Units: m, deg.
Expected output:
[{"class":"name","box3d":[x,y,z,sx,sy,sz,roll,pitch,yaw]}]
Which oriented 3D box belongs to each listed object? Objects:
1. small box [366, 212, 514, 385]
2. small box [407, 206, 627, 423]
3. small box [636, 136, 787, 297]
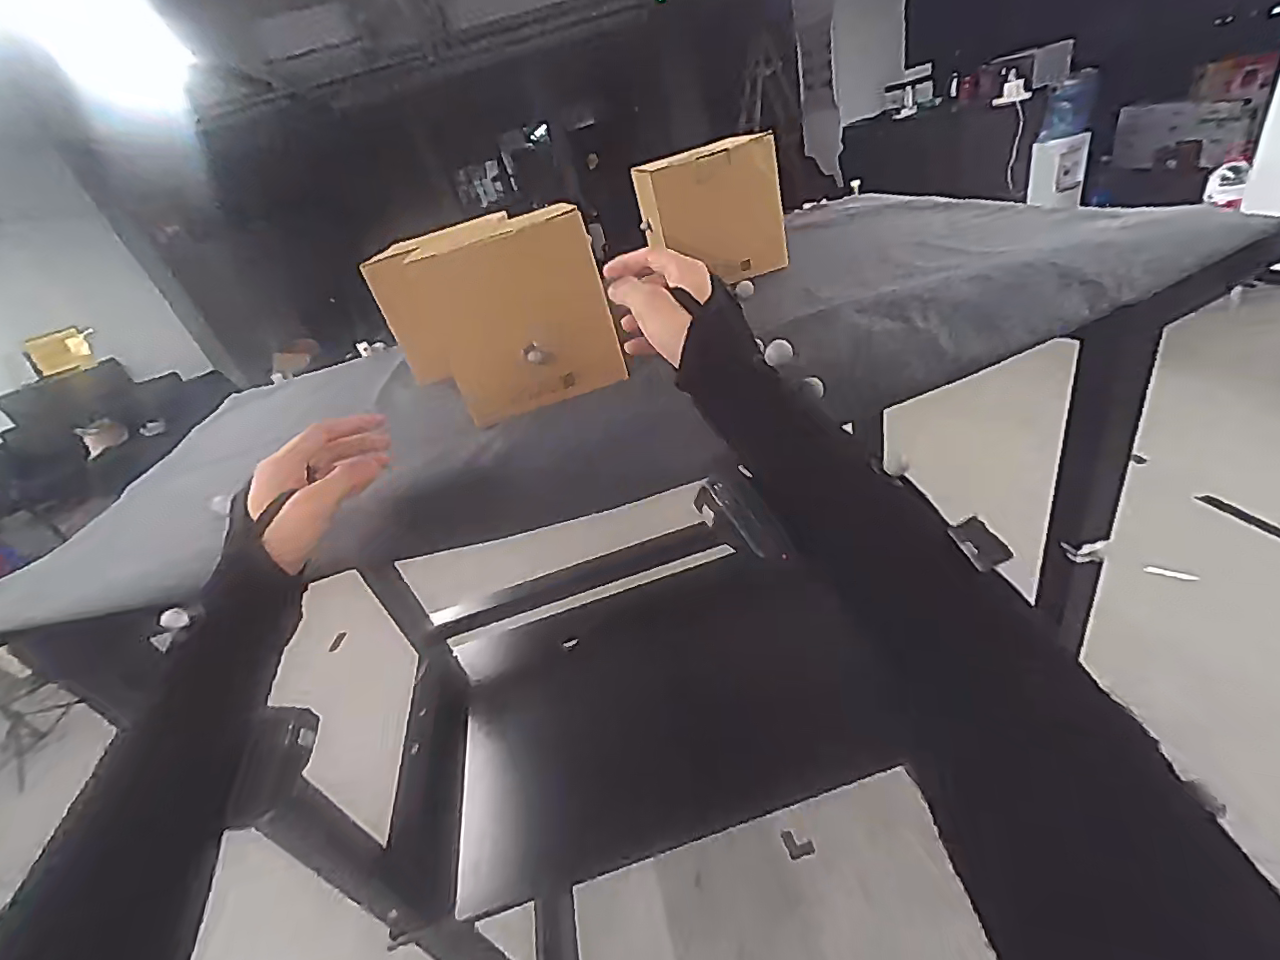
[{"class":"small box","box3d":[-0.240,-0.257,0.764,0.179,0.176,0.168,-16,32,2]},{"class":"small box","box3d":[-0.124,-0.183,0.588,0.168,0.176,0.179,-19,31,-3]},{"class":"small box","box3d":[0.104,-0.381,0.792,0.168,0.176,0.179,-17,31,0]}]
